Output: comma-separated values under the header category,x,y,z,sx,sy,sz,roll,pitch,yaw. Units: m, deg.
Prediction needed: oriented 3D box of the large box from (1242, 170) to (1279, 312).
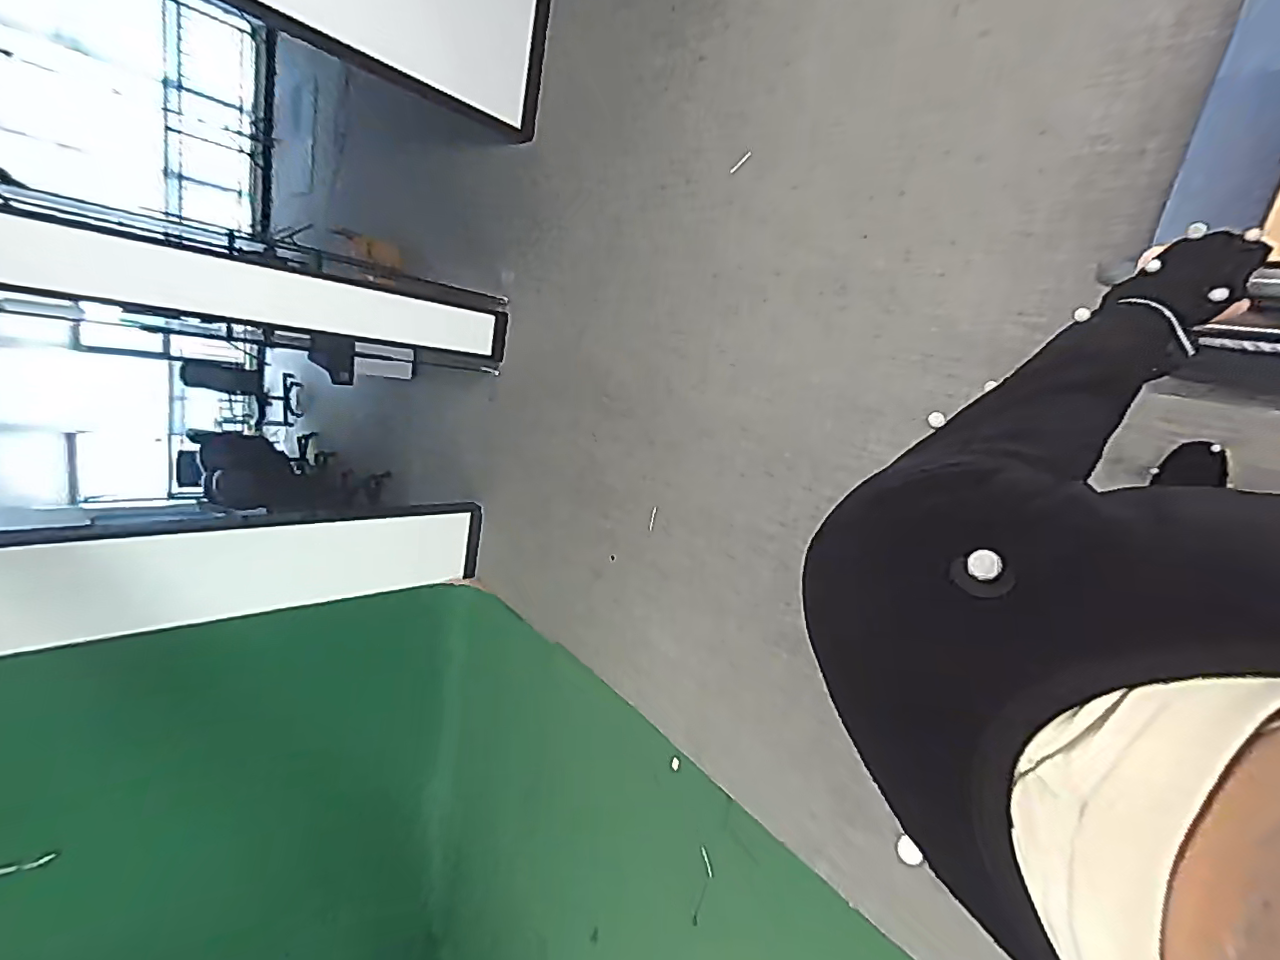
category,x,y,z,sx,sy,sz,roll,pitch,yaw
large box,1.142,-0.464,0.758,0.320,0.320,0.408,23,106,43
